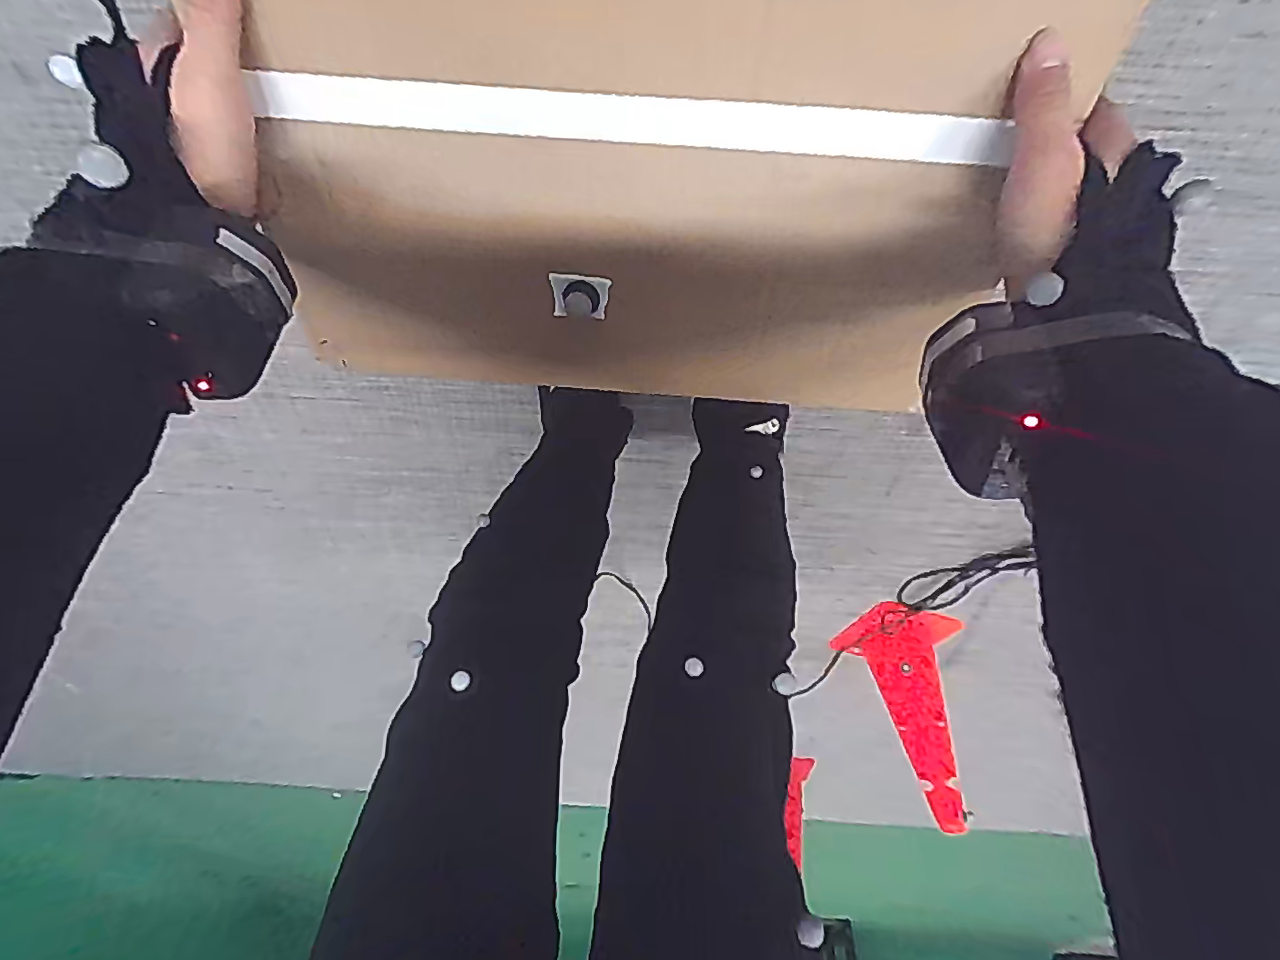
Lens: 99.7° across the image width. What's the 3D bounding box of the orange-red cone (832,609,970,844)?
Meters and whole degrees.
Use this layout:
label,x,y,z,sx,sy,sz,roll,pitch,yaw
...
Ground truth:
label,x,y,z,sx,sy,sz,roll,pitch,yaw
orange-red cone,0.514,0.446,0.981,0.199,0.360,0.198,17,133,-13
